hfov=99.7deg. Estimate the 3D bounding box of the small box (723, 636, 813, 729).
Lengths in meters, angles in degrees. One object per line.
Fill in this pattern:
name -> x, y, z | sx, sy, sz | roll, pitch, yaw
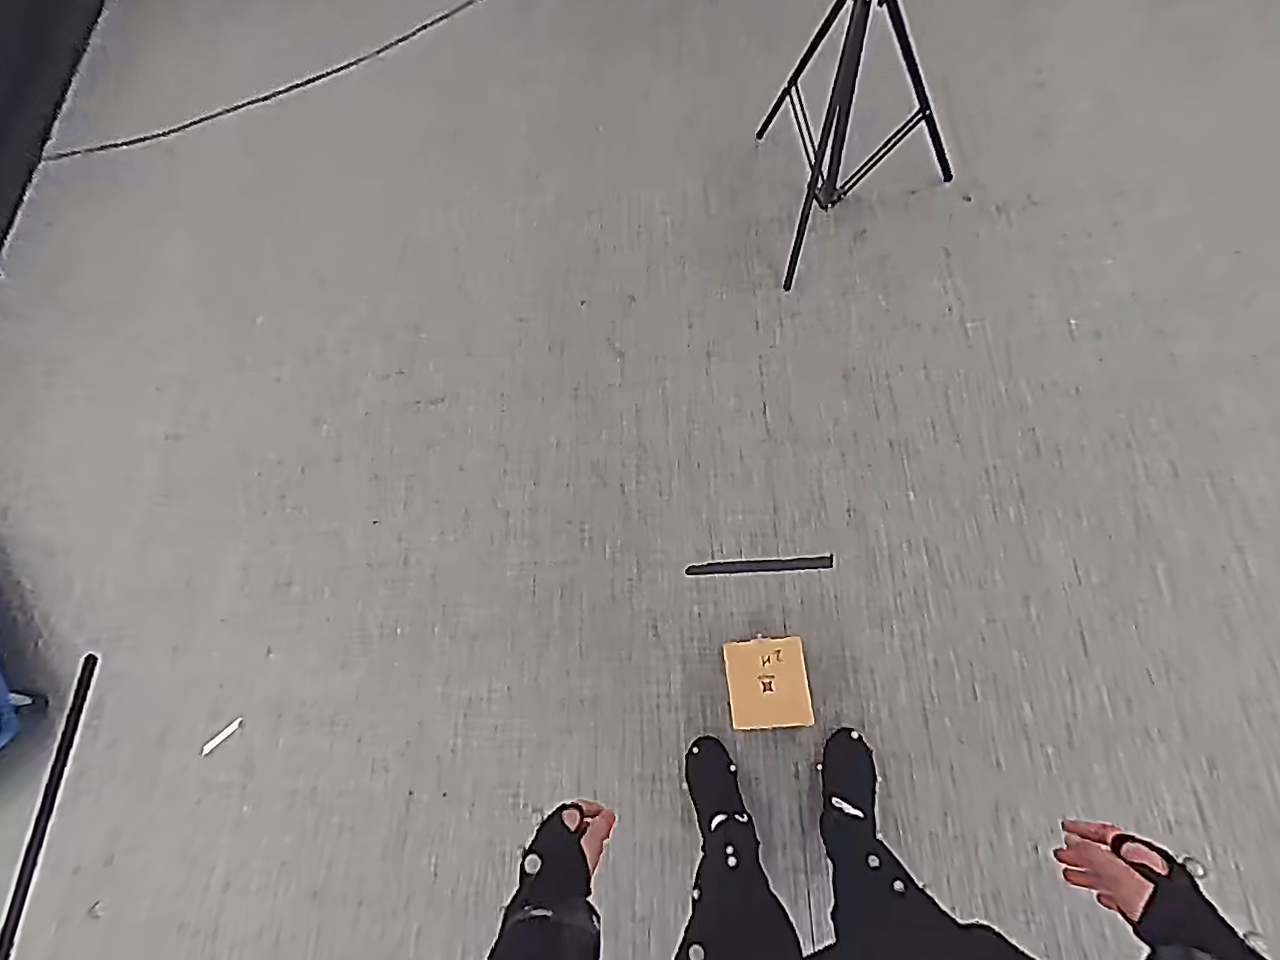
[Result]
small box -> 0.279, 0.442, 1.196 | 0.168, 0.176, 0.179 | -7, 70, 8
